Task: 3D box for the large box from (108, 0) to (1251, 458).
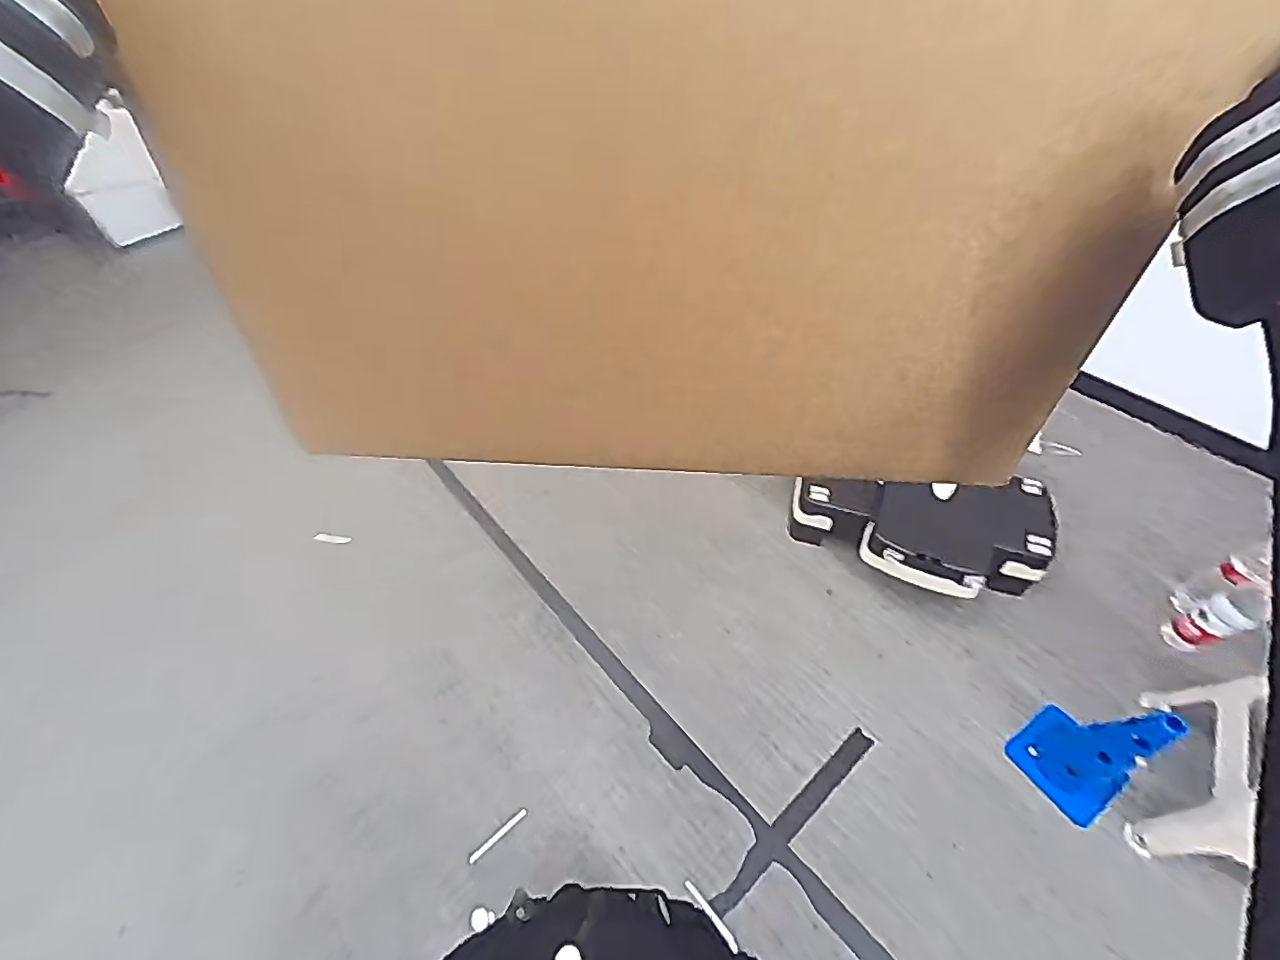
[{"bbox_3d":[0.011,-0.227,0.325,0.408,0.320,0.320,3,42,-1],"label":"large box"}]
